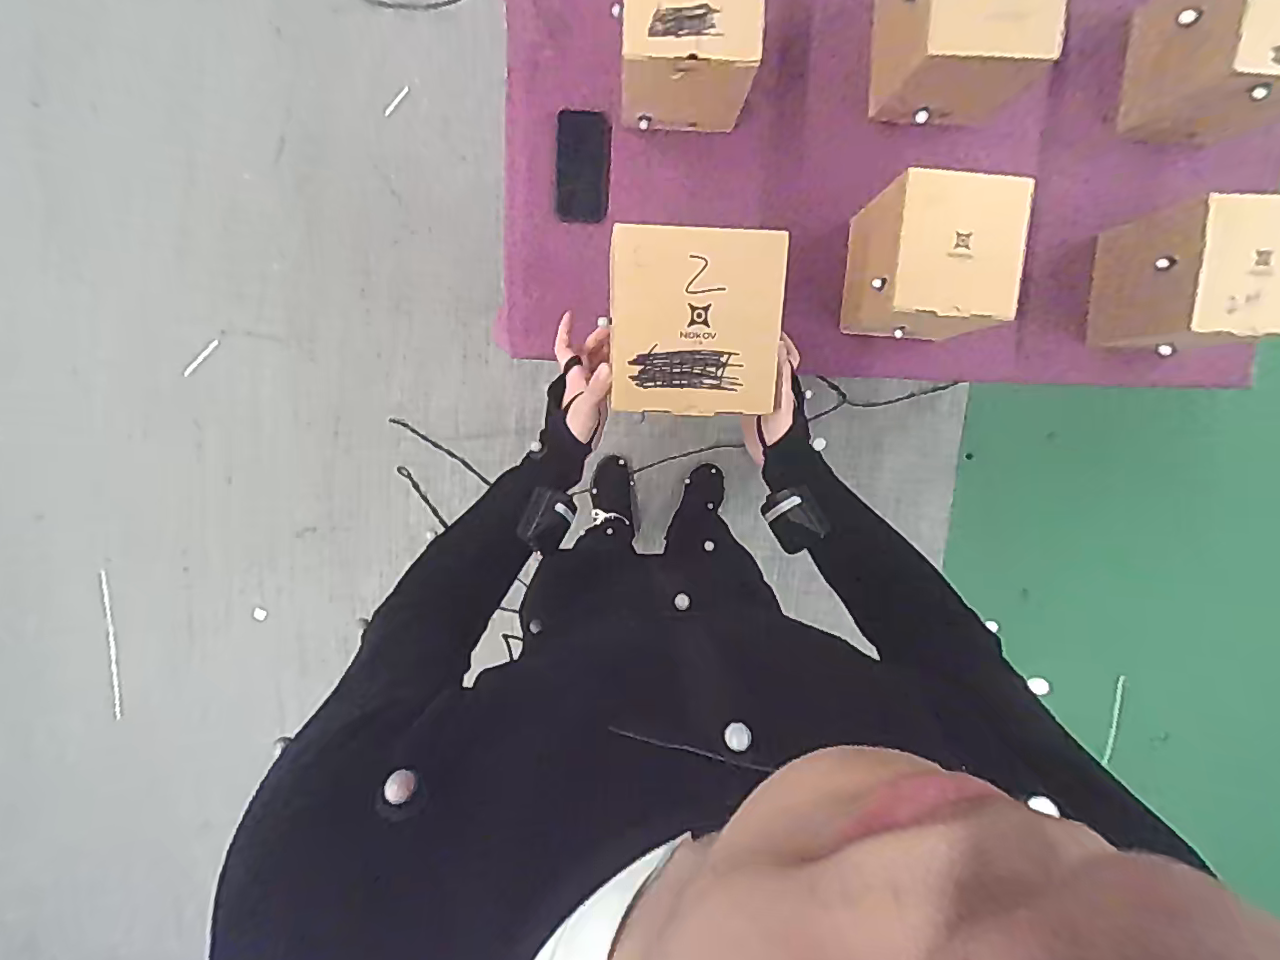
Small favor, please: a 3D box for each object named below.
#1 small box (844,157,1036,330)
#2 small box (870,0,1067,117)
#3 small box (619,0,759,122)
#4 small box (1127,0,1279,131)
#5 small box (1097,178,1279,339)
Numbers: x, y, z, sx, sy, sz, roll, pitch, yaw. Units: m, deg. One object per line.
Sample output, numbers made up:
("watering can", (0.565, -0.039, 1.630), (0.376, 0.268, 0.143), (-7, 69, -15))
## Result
("small box", (0.403, -0.316, 0.756), (0.168, 0.176, 0.179), (3, 98, -2))
("small box", (0.423, -0.619, 0.713), (0.168, 0.176, 0.179), (1, 99, -1))
("small box", (0.058, -0.599, 0.703), (0.168, 0.176, 0.179), (1, 98, -2))
("small box", (0.811, -0.608, 0.724), (0.168, 0.176, 0.179), (3, 98, -1))
("small box", (0.800, -0.301, 0.765), (0.168, 0.176, 0.179), (1, 99, 0))
